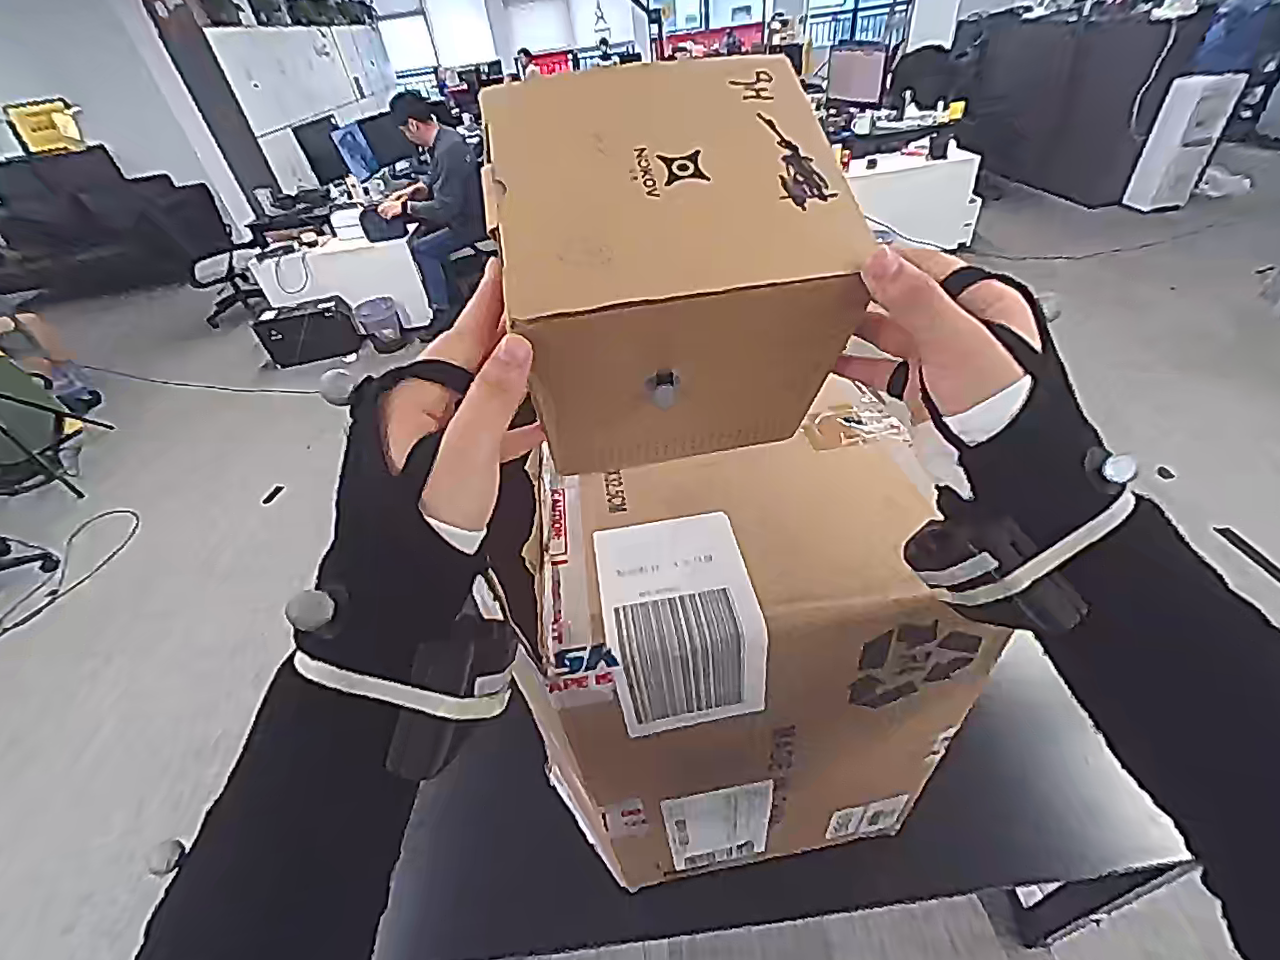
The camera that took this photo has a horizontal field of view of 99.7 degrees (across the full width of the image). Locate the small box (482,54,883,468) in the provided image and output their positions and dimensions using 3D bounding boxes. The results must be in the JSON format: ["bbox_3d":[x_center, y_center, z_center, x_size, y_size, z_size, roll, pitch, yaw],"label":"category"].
[{"bbox_3d":[0.014,-0.121,0.343,0.179,0.176,0.168,-10,67,-4],"label":"small box"}]
